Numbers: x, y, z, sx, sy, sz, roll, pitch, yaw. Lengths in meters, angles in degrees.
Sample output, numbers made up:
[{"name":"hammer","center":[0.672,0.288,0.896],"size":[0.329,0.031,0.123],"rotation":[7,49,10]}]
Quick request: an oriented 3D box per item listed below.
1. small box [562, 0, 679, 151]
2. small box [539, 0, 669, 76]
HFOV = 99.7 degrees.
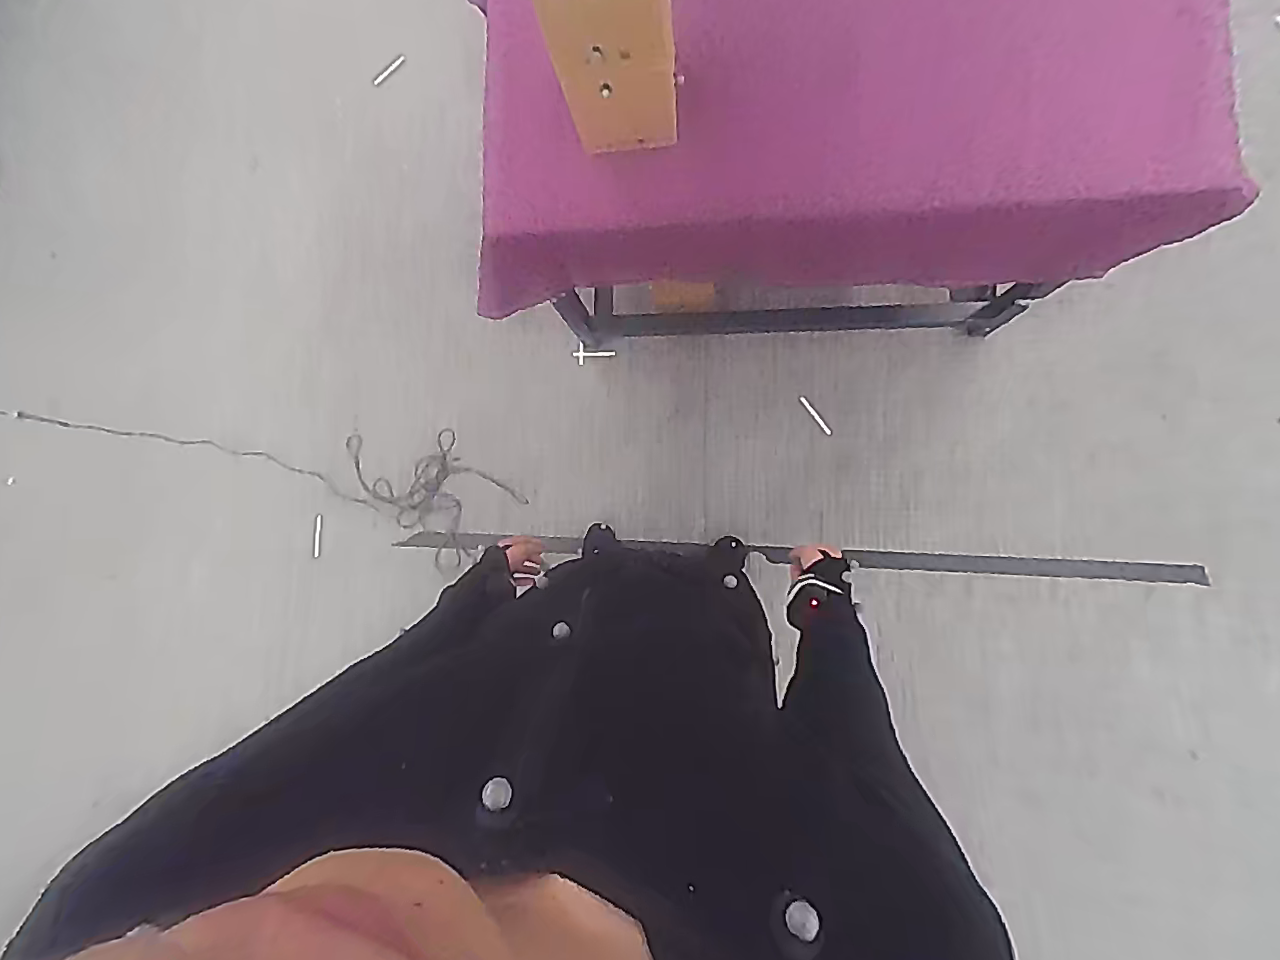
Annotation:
[{"name":"small box","center":[-0.025,-0.678,0.879],"size":[0.168,0.176,0.179],"rotation":[-1,86,8]},{"name":"small box","center":[-0.051,-0.691,0.717],"size":[0.168,0.176,0.179],"rotation":[-3,86,7]}]
